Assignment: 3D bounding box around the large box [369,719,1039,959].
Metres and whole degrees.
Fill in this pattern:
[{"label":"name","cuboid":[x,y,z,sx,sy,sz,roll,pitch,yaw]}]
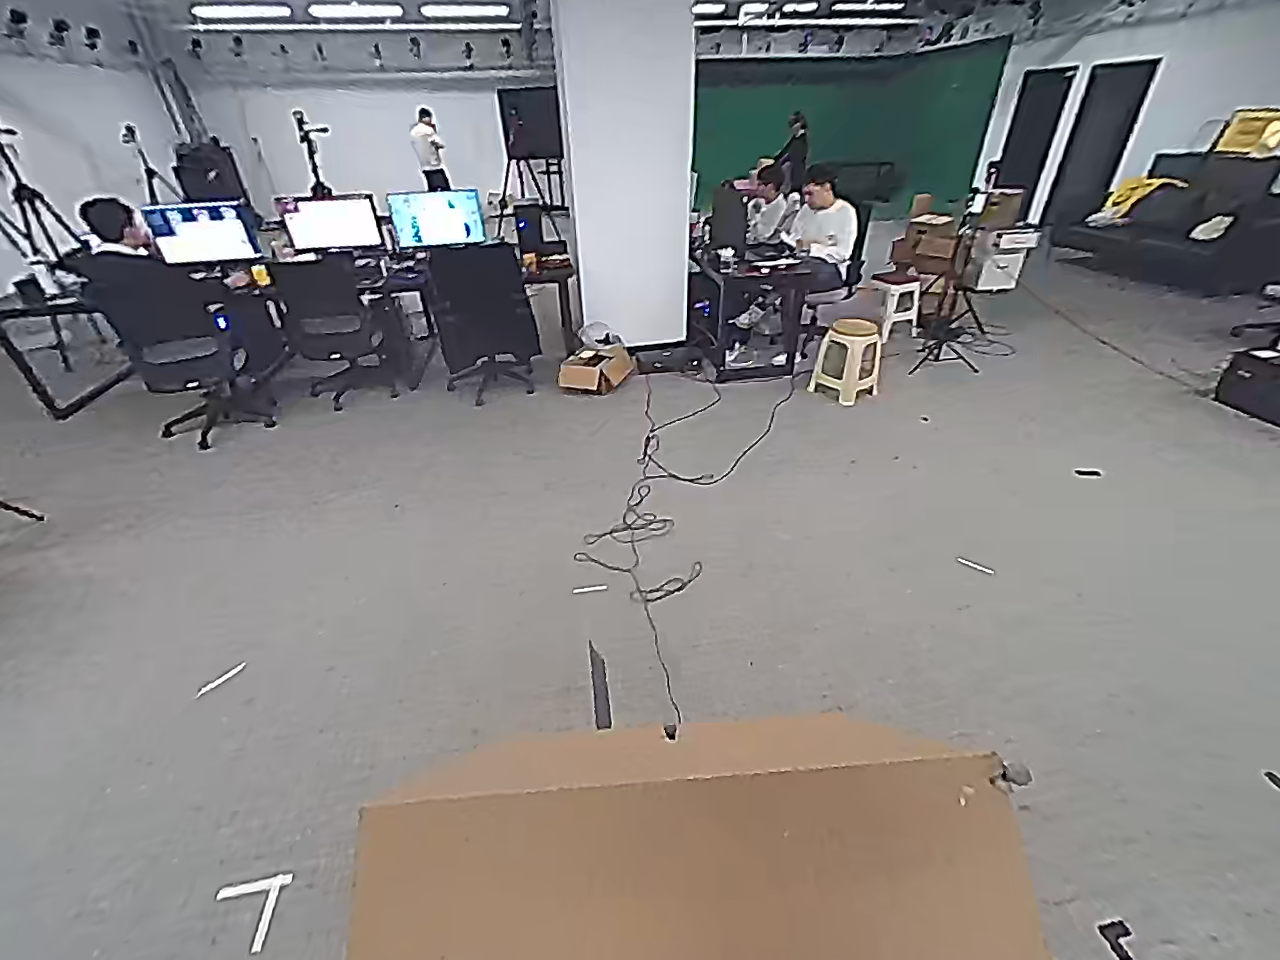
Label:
[{"label":"large box","cuboid":[0.042,0.392,0.444,0.408,0.320,0.320,-5,72,0]}]
